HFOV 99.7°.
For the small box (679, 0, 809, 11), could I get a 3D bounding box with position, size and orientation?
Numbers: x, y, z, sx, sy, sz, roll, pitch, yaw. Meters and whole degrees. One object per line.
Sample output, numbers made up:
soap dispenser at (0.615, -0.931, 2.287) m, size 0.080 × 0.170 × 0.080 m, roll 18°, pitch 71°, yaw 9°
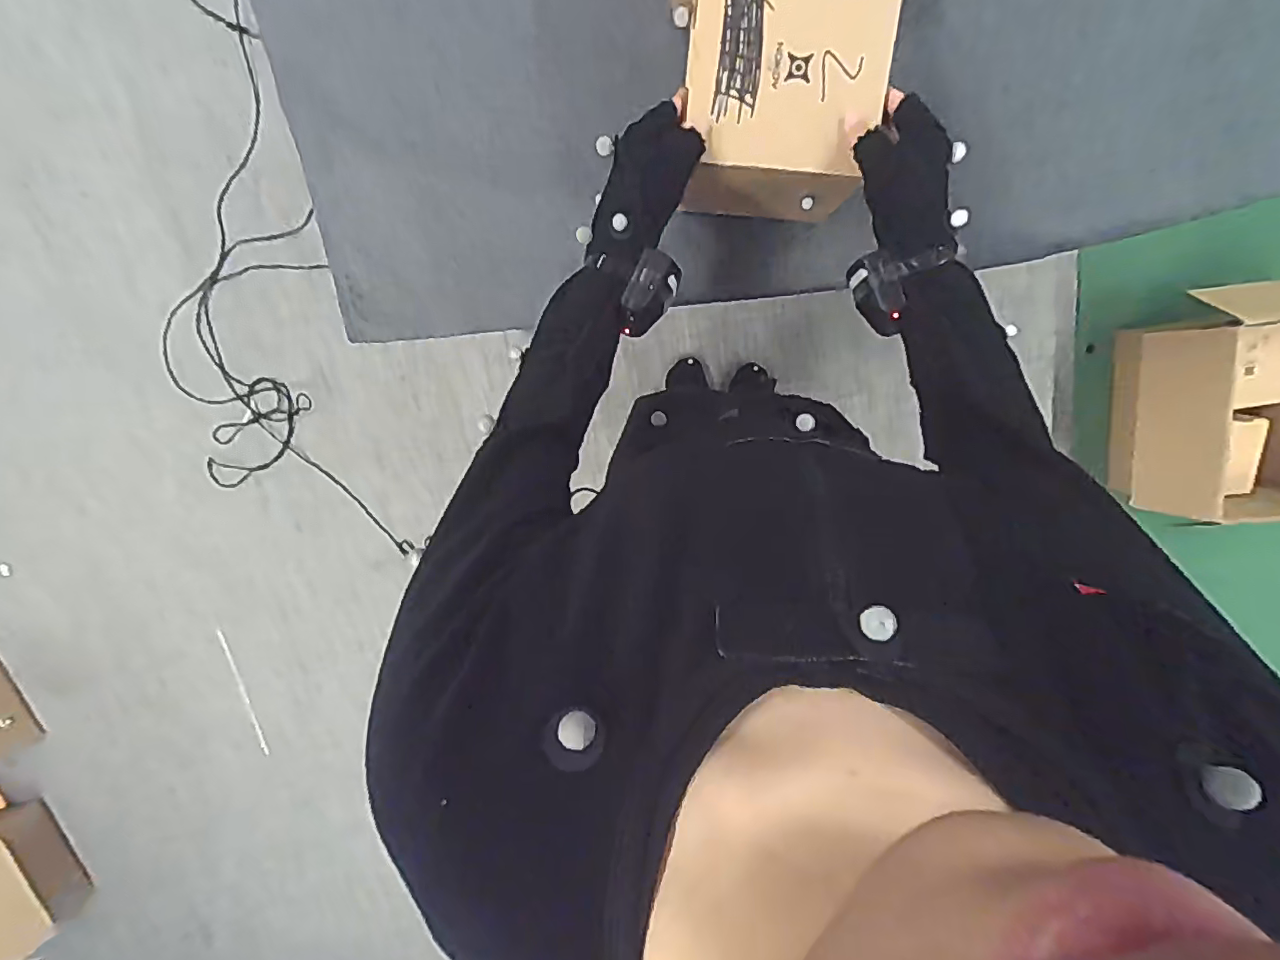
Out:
small box at (0.108, -0.589, 0.511) m, size 0.168 × 0.176 × 0.179 m, roll -3°, pitch 102°, yaw 4°
